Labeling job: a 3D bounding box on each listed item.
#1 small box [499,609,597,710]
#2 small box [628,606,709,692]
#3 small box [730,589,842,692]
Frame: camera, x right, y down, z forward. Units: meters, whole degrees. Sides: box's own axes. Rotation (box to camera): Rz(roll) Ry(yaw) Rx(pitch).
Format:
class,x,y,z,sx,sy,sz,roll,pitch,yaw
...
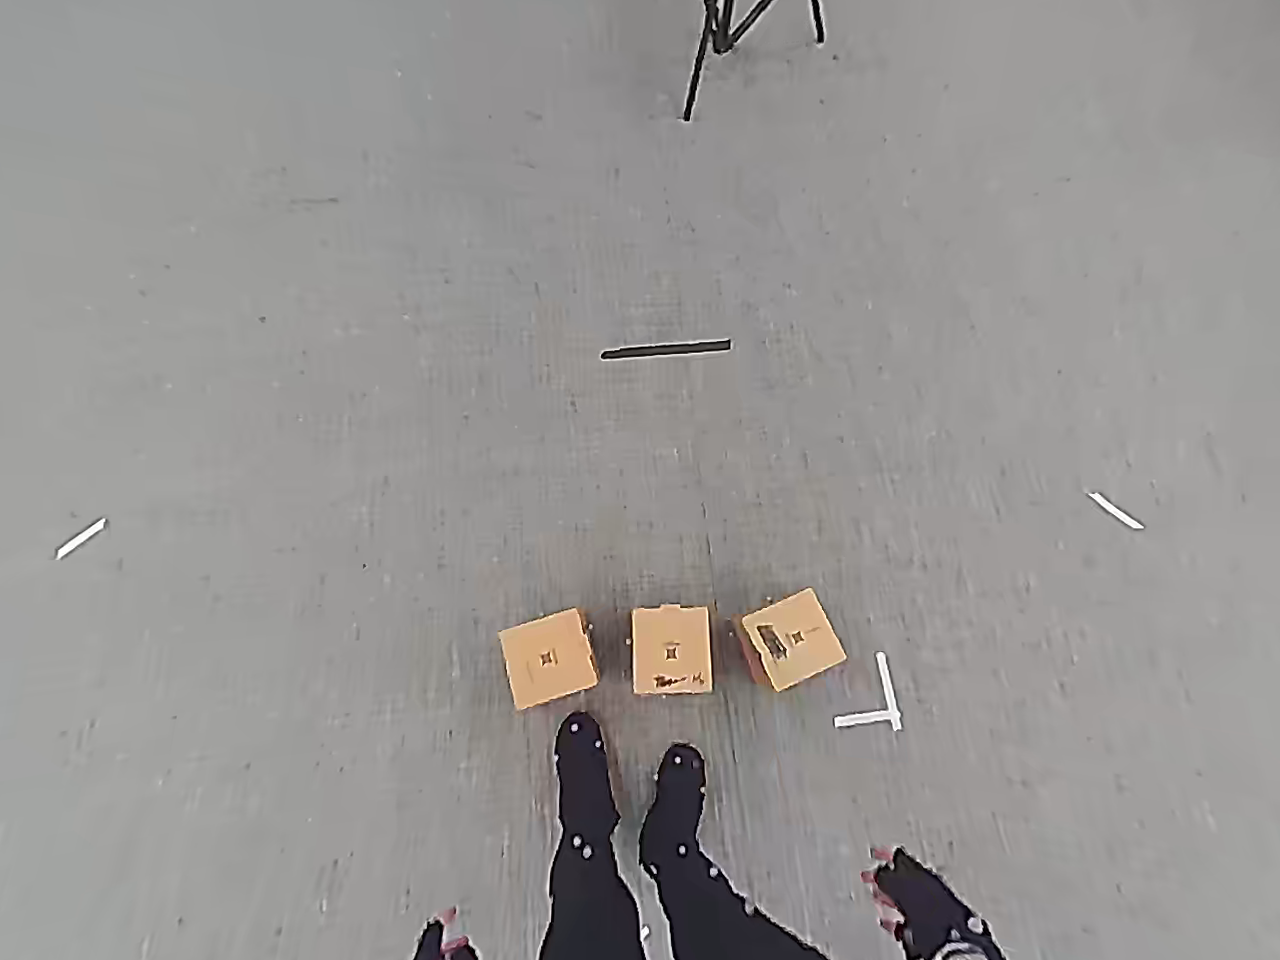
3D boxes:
class,x,y,z,sx,sy,sz,roll,pitch,yaw
small box,-0.198,0.394,1.209,0.179,0.176,0.168,-17,75,-5
small box,0.059,0.380,1.222,0.168,0.176,0.179,0,74,-2
small box,0.319,0.364,1.234,0.179,0.176,0.168,-21,76,-8
